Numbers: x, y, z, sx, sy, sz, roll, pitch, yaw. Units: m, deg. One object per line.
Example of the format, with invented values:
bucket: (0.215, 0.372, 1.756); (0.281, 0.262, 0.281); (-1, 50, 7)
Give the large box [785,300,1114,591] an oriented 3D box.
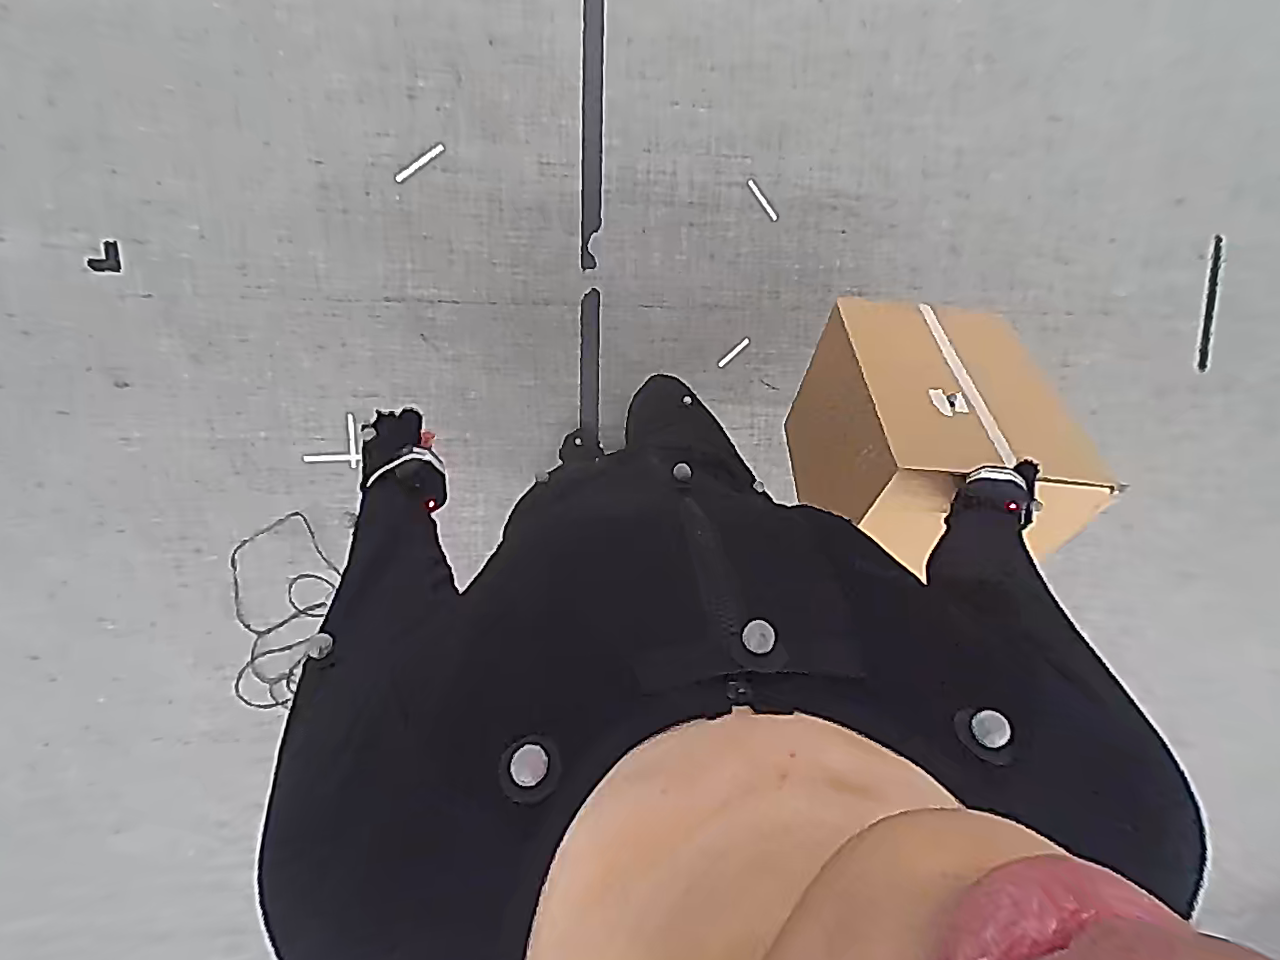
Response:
large box: (0.481, -0.060, 0.960); (0.320, 0.408, 0.320); (5, 141, -3)
